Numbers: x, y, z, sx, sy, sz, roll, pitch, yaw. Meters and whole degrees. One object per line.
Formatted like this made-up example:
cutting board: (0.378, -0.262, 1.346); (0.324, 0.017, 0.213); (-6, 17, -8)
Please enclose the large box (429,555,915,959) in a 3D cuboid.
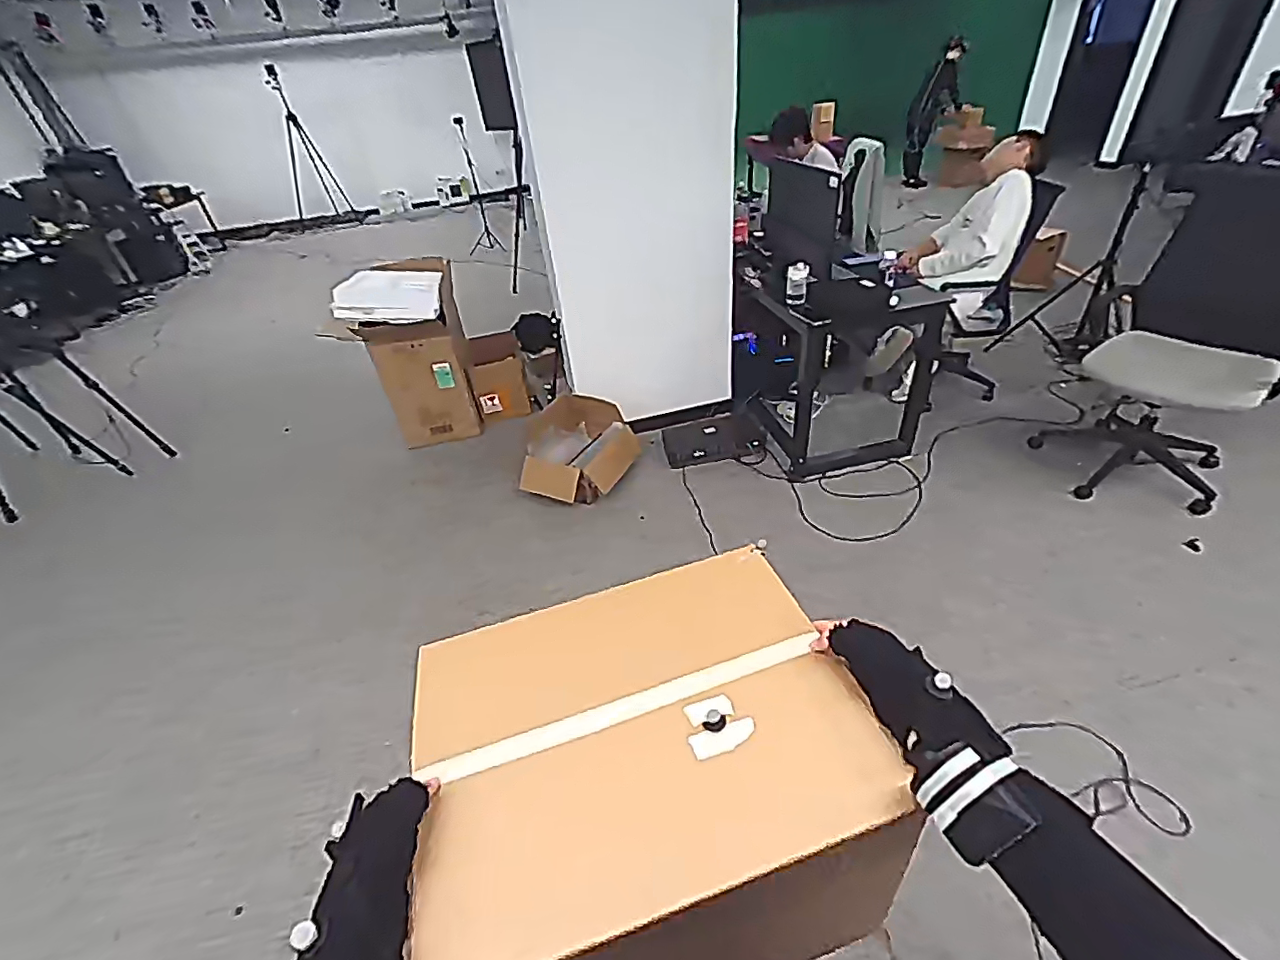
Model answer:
large box: (0.016, 0.347, 0.608); (0.408, 0.320, 0.320); (-16, 36, -9)
